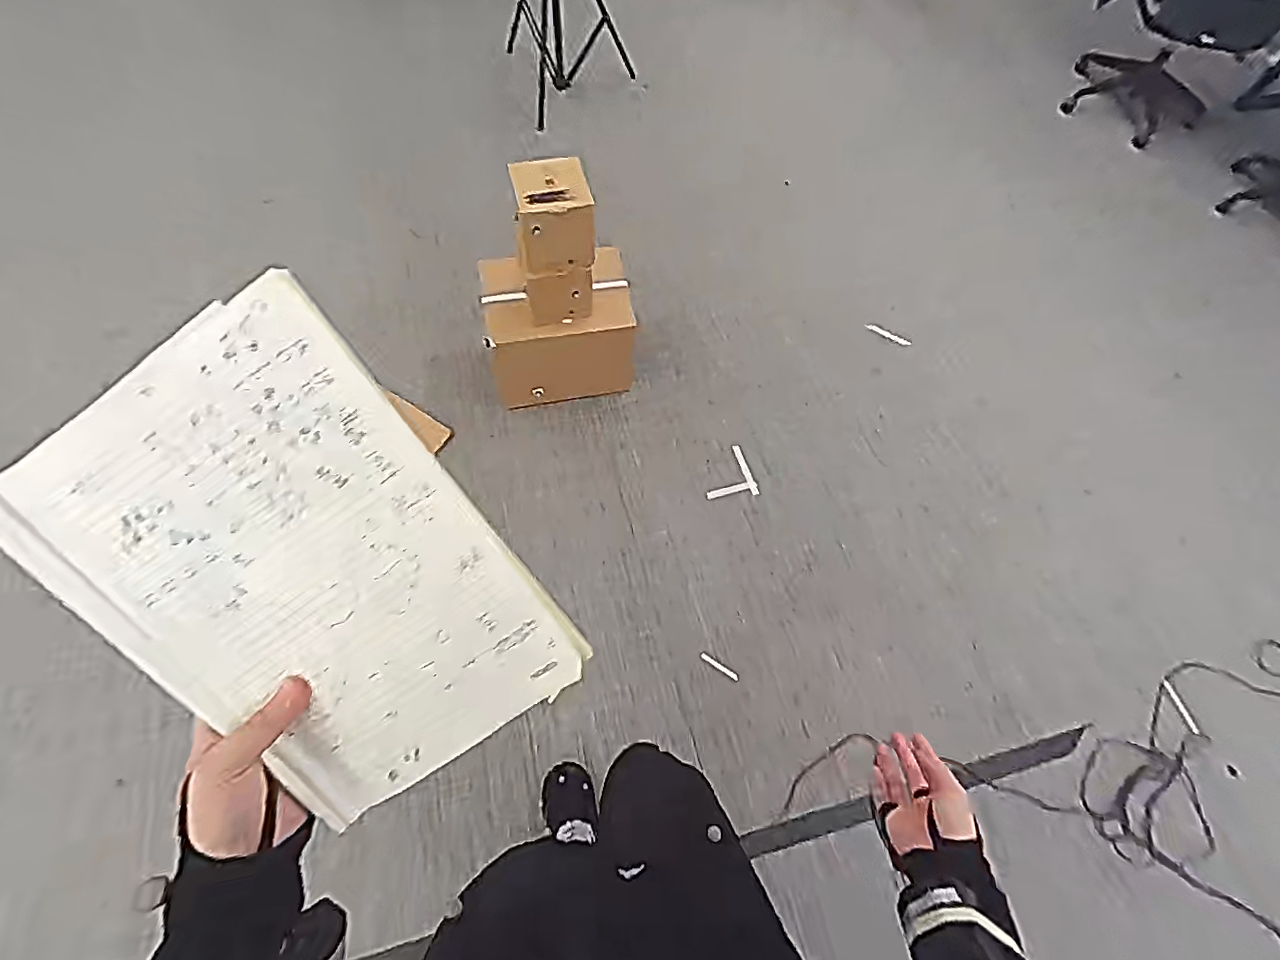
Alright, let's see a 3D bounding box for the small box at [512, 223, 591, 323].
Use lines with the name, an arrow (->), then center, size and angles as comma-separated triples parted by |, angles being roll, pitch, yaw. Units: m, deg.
small box -> -0.226, -0.533, 1.417 | 0.168, 0.176, 0.179 | -15, 65, -12
